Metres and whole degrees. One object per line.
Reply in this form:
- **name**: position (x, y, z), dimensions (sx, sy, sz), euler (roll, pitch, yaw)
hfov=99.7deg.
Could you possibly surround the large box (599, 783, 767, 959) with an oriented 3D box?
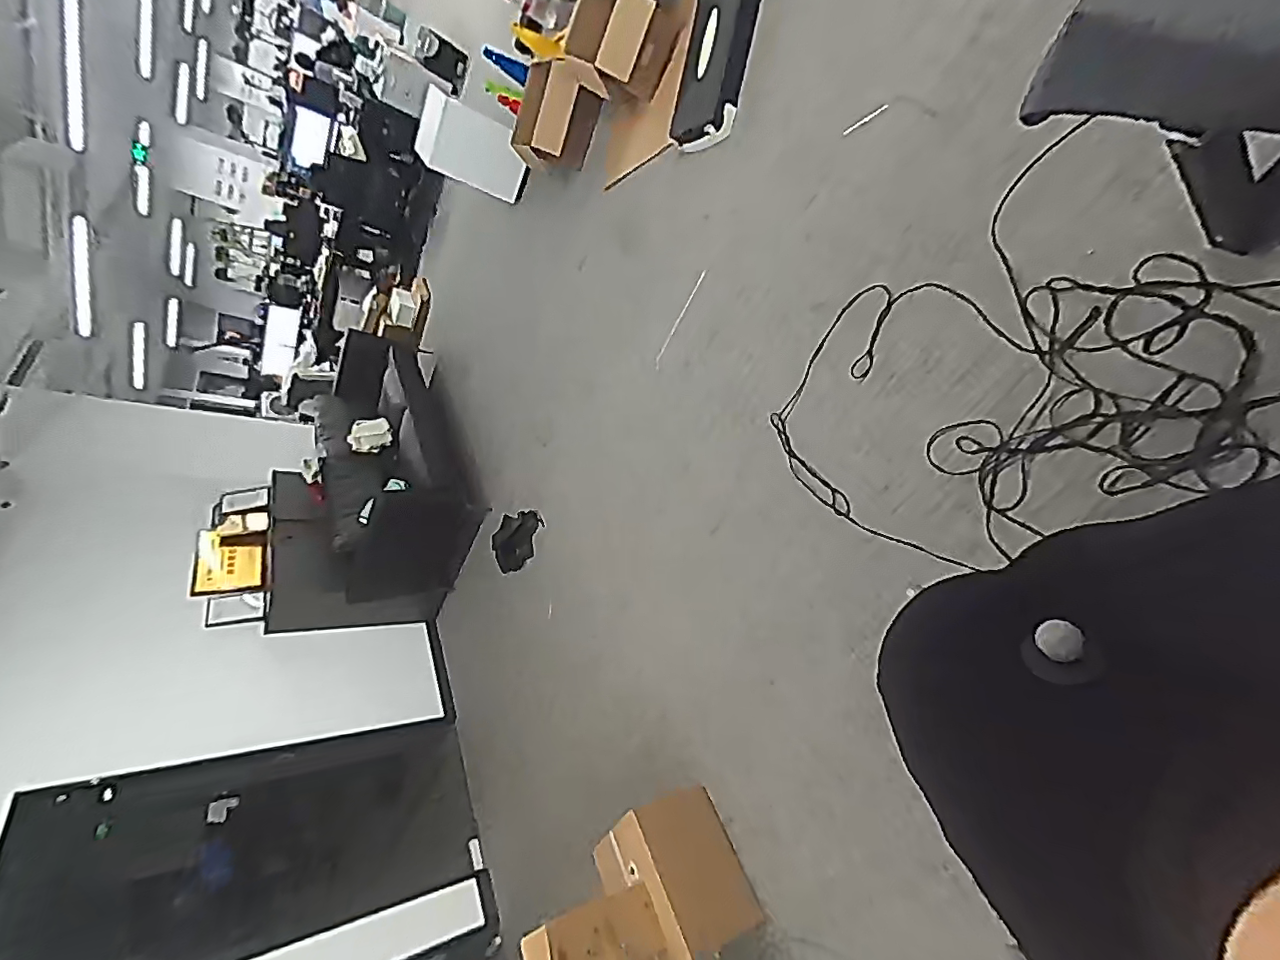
- **large box**: position (0.125, 1.274, 1.736), dimensions (0.320, 0.320, 0.408), euler (-59, 43, 28)

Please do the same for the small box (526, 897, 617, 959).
- **small box**: position (-0.187, 1.279, 1.471), dimensions (0.179, 0.176, 0.168), euler (-55, 45, 32)
